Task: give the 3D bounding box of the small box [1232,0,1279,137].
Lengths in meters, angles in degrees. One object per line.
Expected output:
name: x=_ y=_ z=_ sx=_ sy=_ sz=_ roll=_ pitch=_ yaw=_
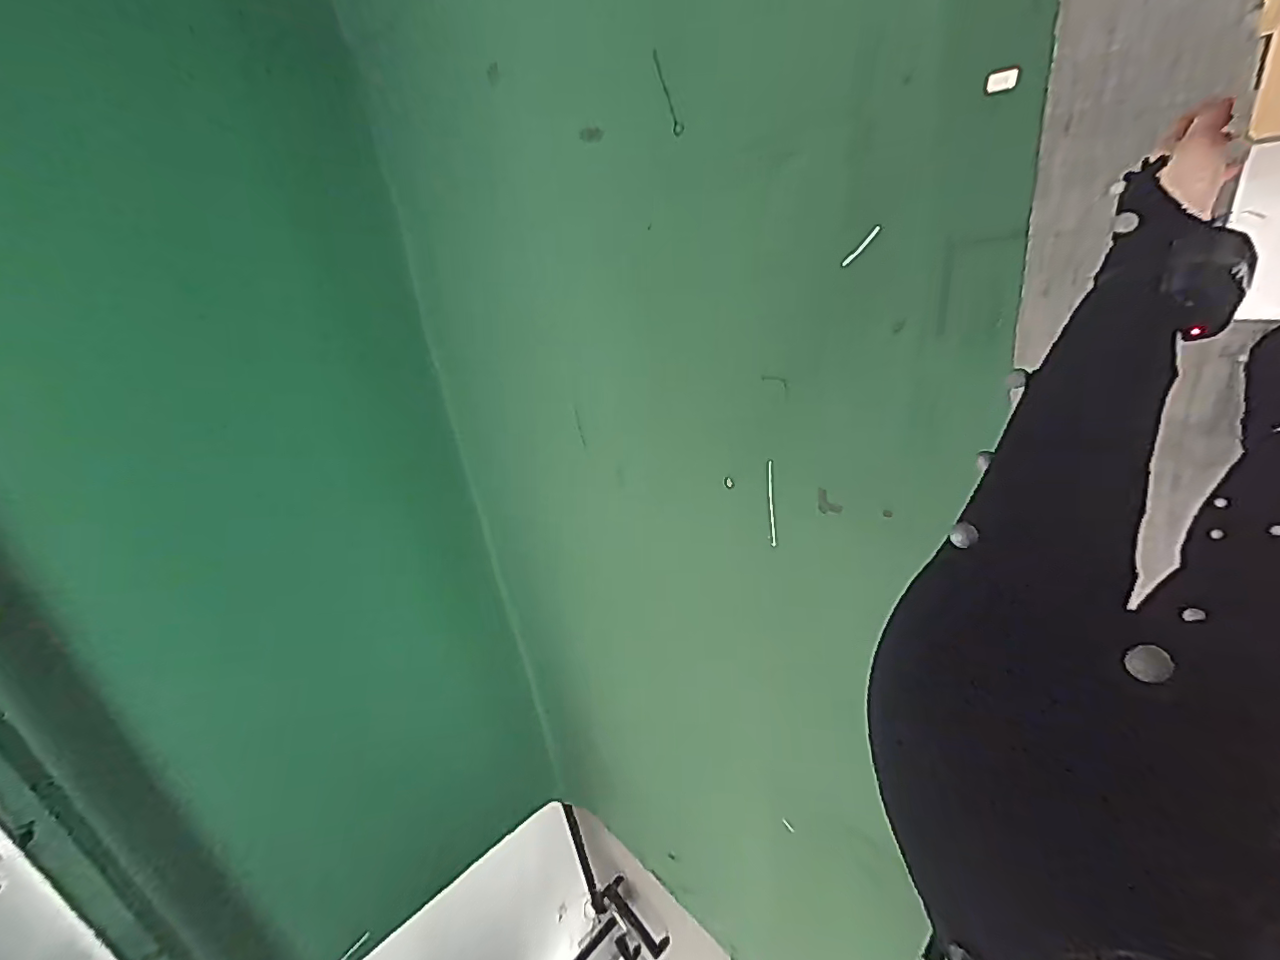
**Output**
small box: x=0.510 y=-0.319 z=0.326 sx=0.179 sy=0.176 sz=0.168 roll=16 pitch=124 yaw=44
